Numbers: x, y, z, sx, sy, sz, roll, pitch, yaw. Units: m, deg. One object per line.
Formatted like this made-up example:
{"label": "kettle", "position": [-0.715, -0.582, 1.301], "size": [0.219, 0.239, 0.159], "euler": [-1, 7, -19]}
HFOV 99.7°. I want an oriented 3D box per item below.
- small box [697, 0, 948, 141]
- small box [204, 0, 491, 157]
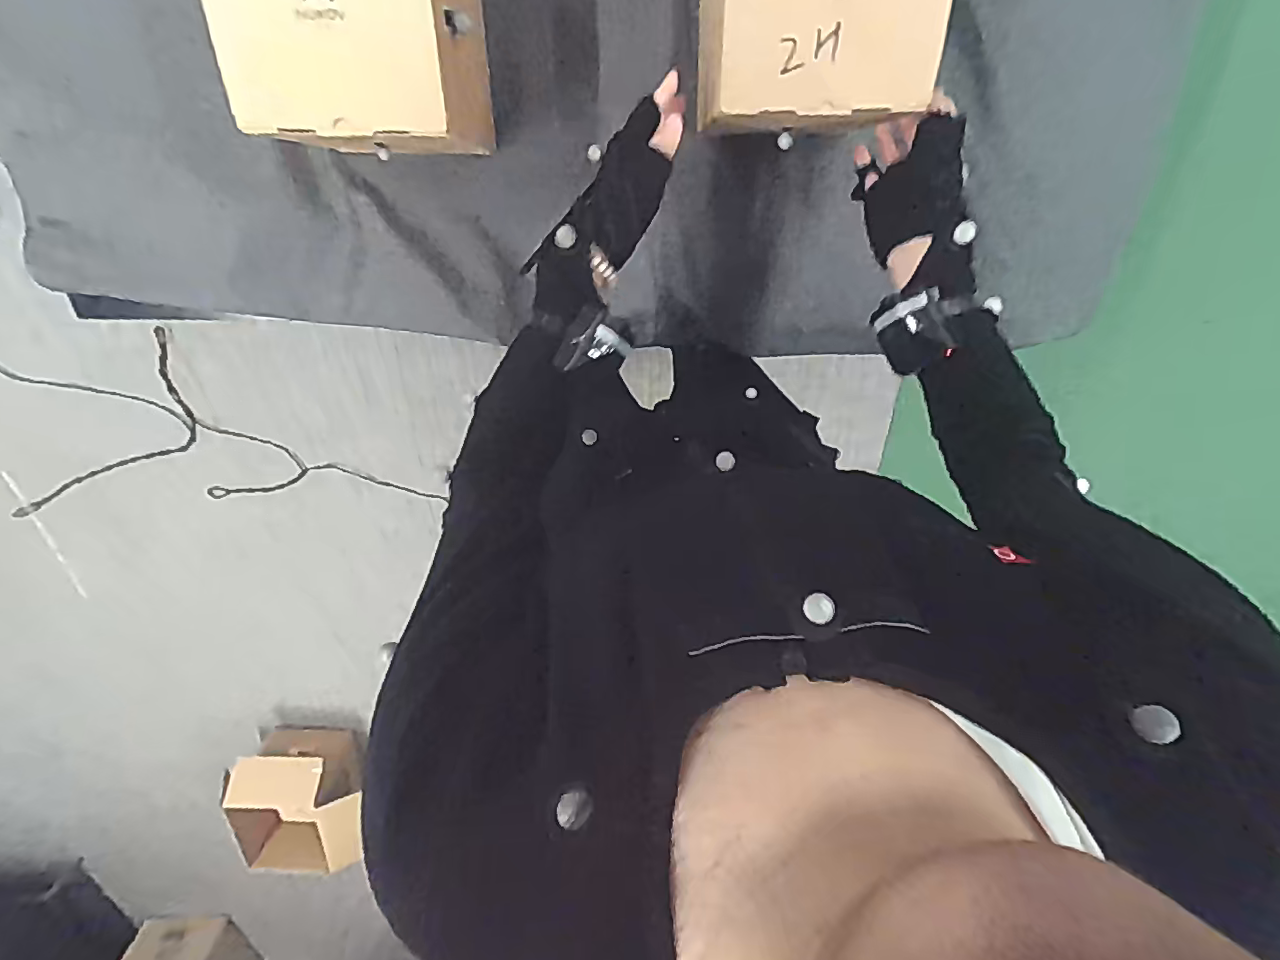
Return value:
{"label": "small box", "position": [0.139, -0.396, 0.453], "size": [0.168, 0.176, 0.179], "euler": [-1, 118, 0]}
{"label": "small box", "position": [-0.232, -0.383, 0.457], "size": [0.168, 0.176, 0.179], "euler": [0, 118, -2]}
